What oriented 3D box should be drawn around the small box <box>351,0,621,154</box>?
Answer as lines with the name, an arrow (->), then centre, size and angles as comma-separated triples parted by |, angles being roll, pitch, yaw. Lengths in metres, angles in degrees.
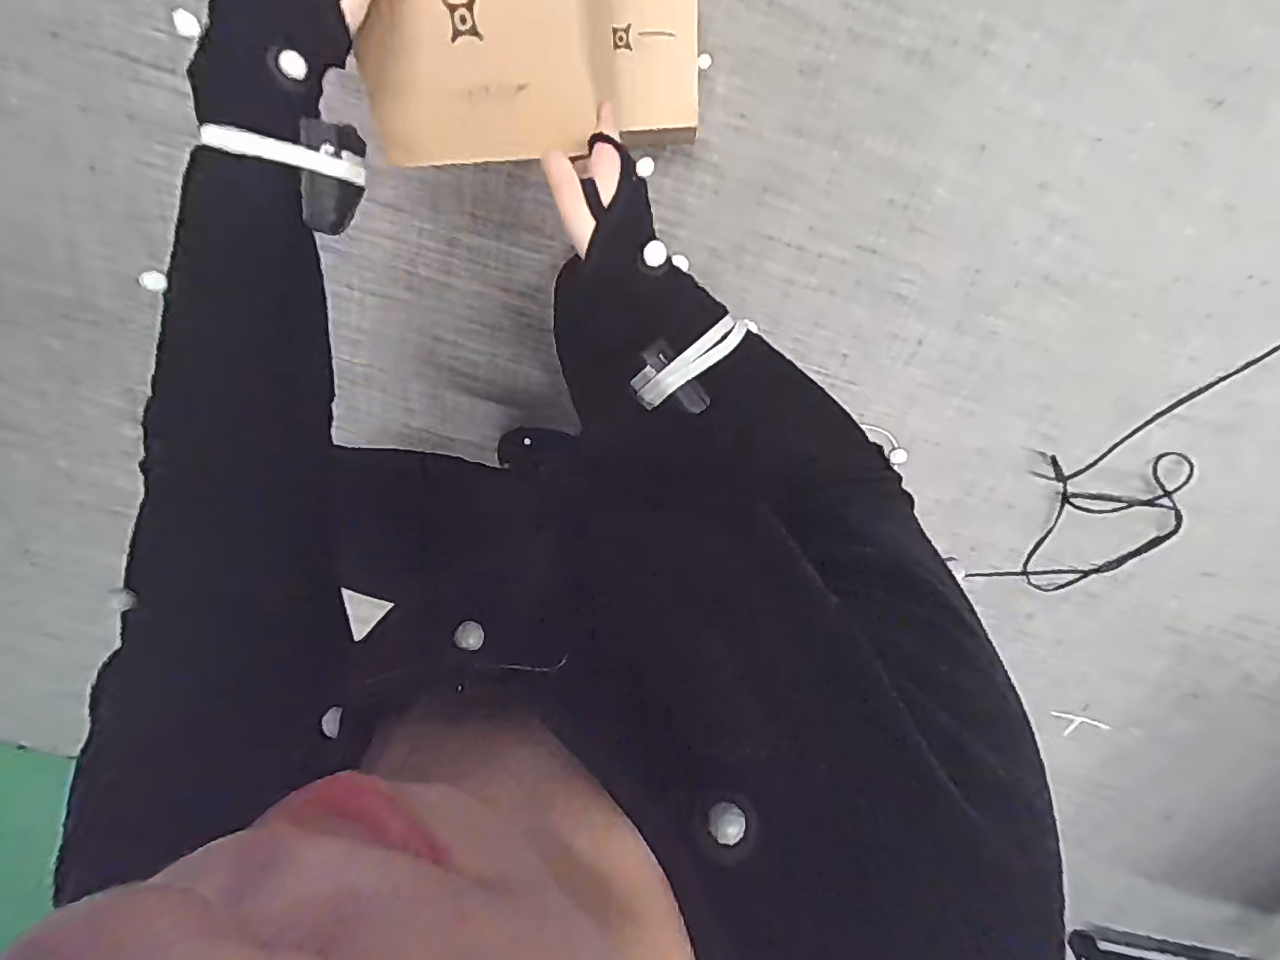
small box -> -0.105, -0.369, 0.414 | 0.168, 0.176, 0.179 | 0, 133, 4

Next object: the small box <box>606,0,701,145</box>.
small box -> -0.019, -0.493, 0.626 | 0.179, 0.176, 0.168 | -1, 118, 5
